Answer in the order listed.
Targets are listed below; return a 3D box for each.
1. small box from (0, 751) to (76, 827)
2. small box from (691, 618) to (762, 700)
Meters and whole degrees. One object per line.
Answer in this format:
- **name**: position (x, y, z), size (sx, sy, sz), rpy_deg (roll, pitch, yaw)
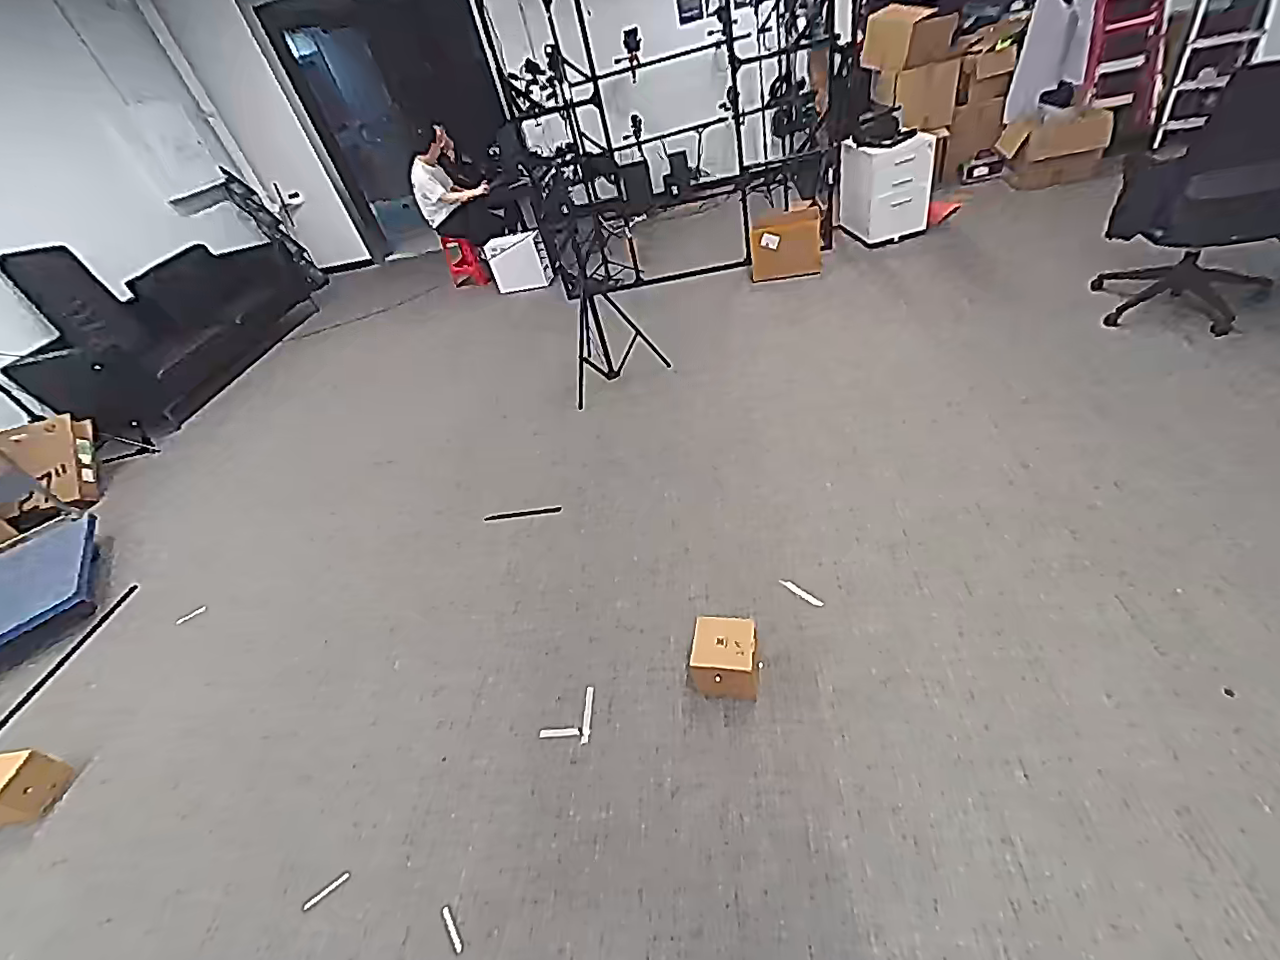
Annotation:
- **small box**: position (-2.074, 1.032, 1.804), size (0.179, 0.176, 0.168), rpy_deg (-12, 39, 6)
- **small box**: position (0.259, 0.529, 1.594), size (0.179, 0.176, 0.168), rpy_deg (-1, 42, 18)
